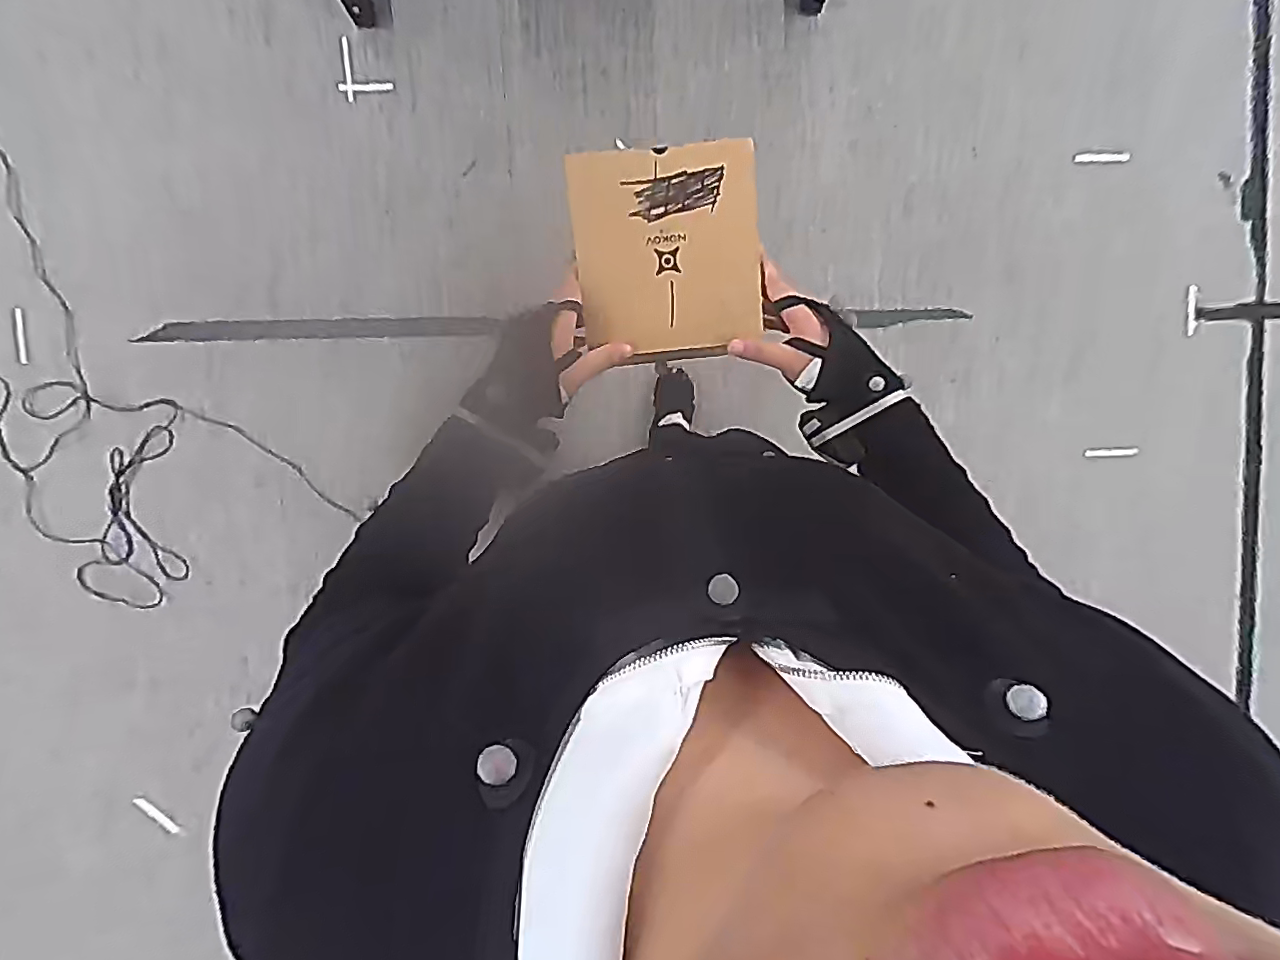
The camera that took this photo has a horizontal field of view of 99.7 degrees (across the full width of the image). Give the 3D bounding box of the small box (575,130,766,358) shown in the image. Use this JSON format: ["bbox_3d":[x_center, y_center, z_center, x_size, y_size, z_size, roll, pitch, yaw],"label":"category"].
[{"bbox_3d":[0.026,-0.228,0.565,0.168,0.176,0.179,-6,100,-1],"label":"small box"}]
